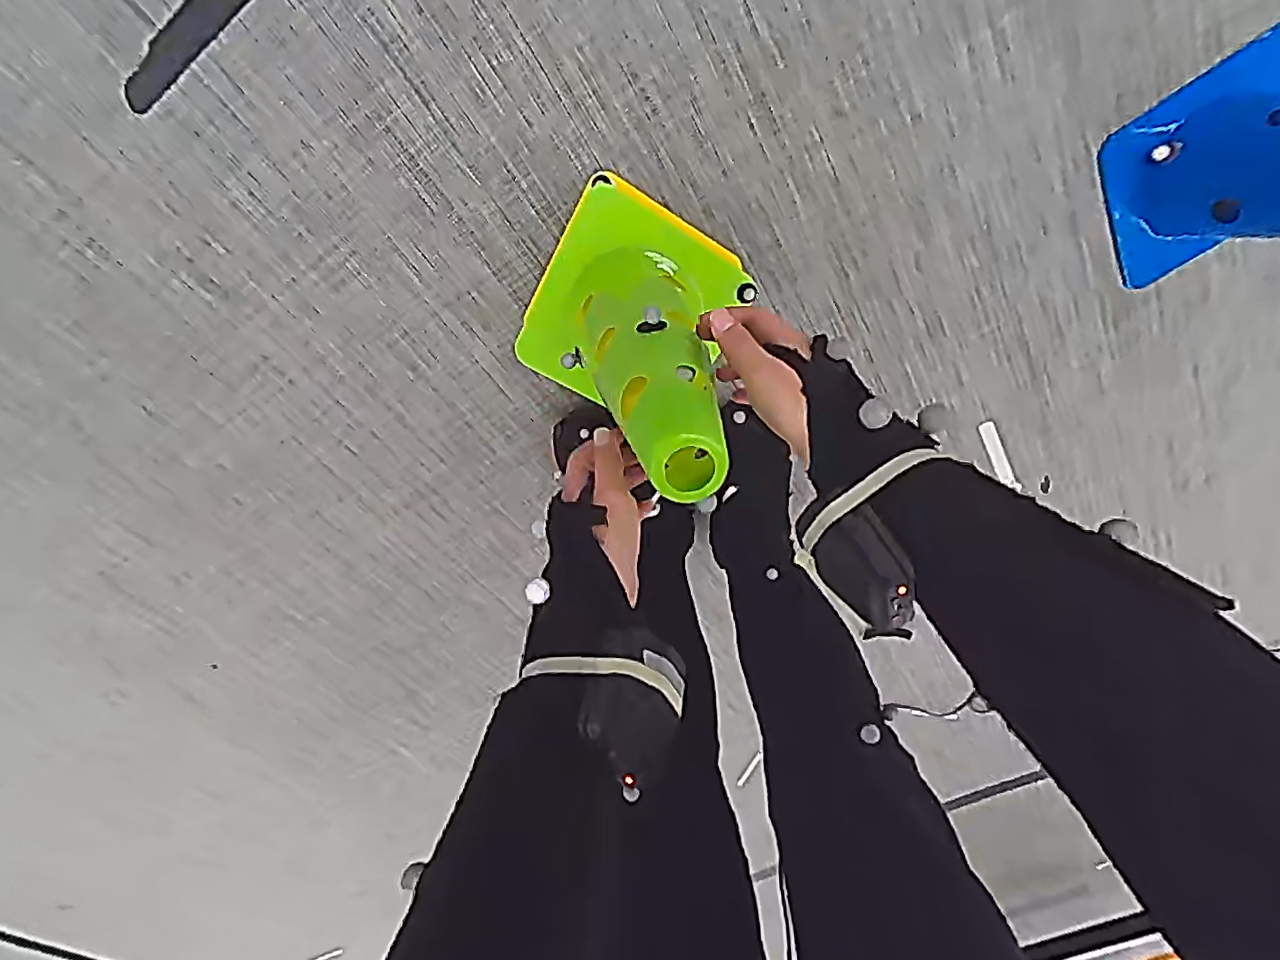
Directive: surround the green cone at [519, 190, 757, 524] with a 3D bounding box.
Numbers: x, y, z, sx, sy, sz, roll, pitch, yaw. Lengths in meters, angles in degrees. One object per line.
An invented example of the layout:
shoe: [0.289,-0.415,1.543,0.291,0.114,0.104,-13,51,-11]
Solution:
green cone: [0.009,-0.083,0.419,0.200,0.368,0.202,26,113,-17]
